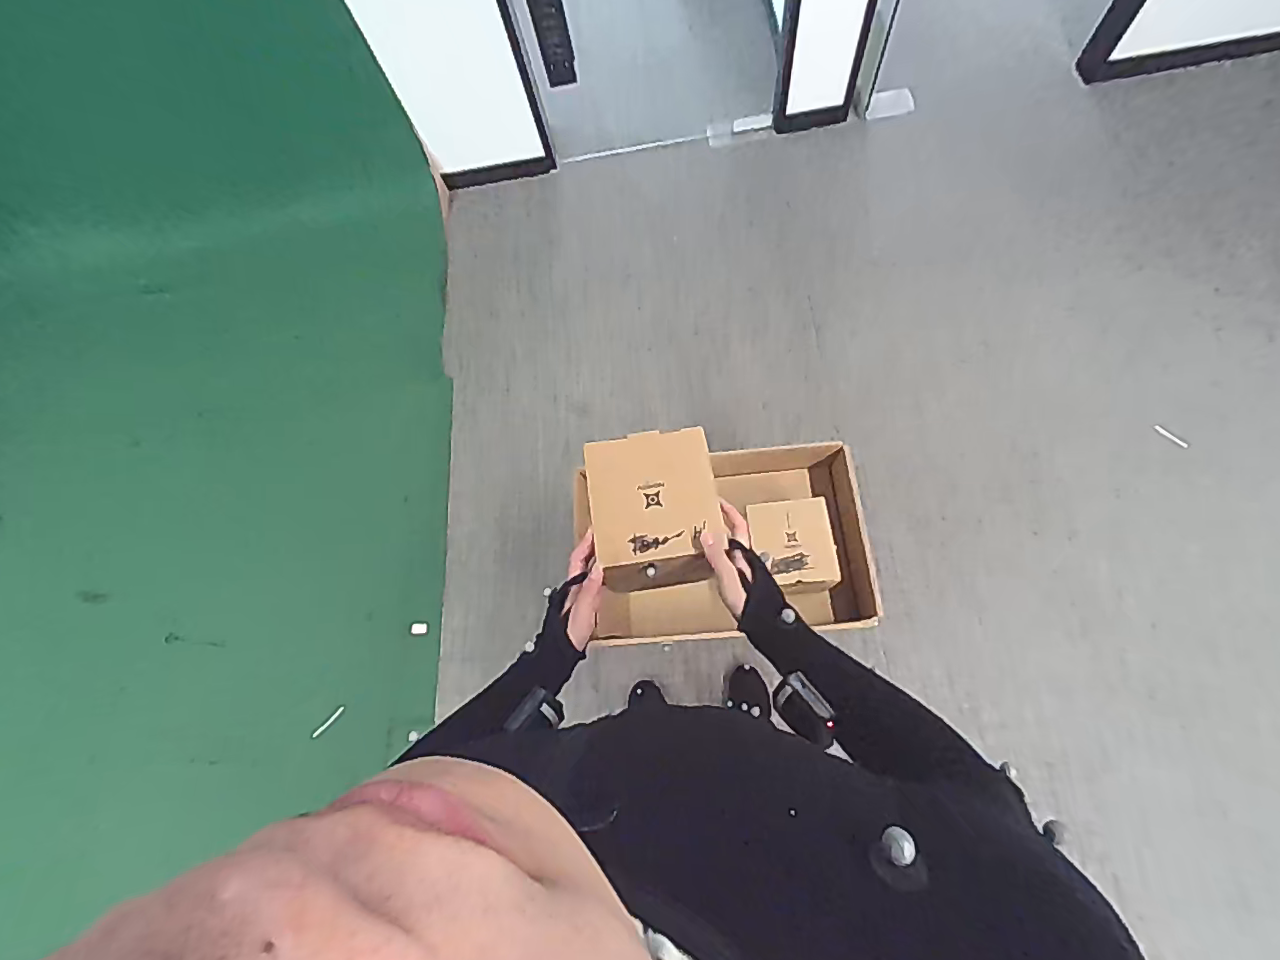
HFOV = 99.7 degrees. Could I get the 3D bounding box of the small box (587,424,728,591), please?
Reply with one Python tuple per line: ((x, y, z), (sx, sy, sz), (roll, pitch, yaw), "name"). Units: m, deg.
((0.020, 0.045, 0.764), (0.168, 0.176, 0.179), (-8, 66, -1), "small box")
